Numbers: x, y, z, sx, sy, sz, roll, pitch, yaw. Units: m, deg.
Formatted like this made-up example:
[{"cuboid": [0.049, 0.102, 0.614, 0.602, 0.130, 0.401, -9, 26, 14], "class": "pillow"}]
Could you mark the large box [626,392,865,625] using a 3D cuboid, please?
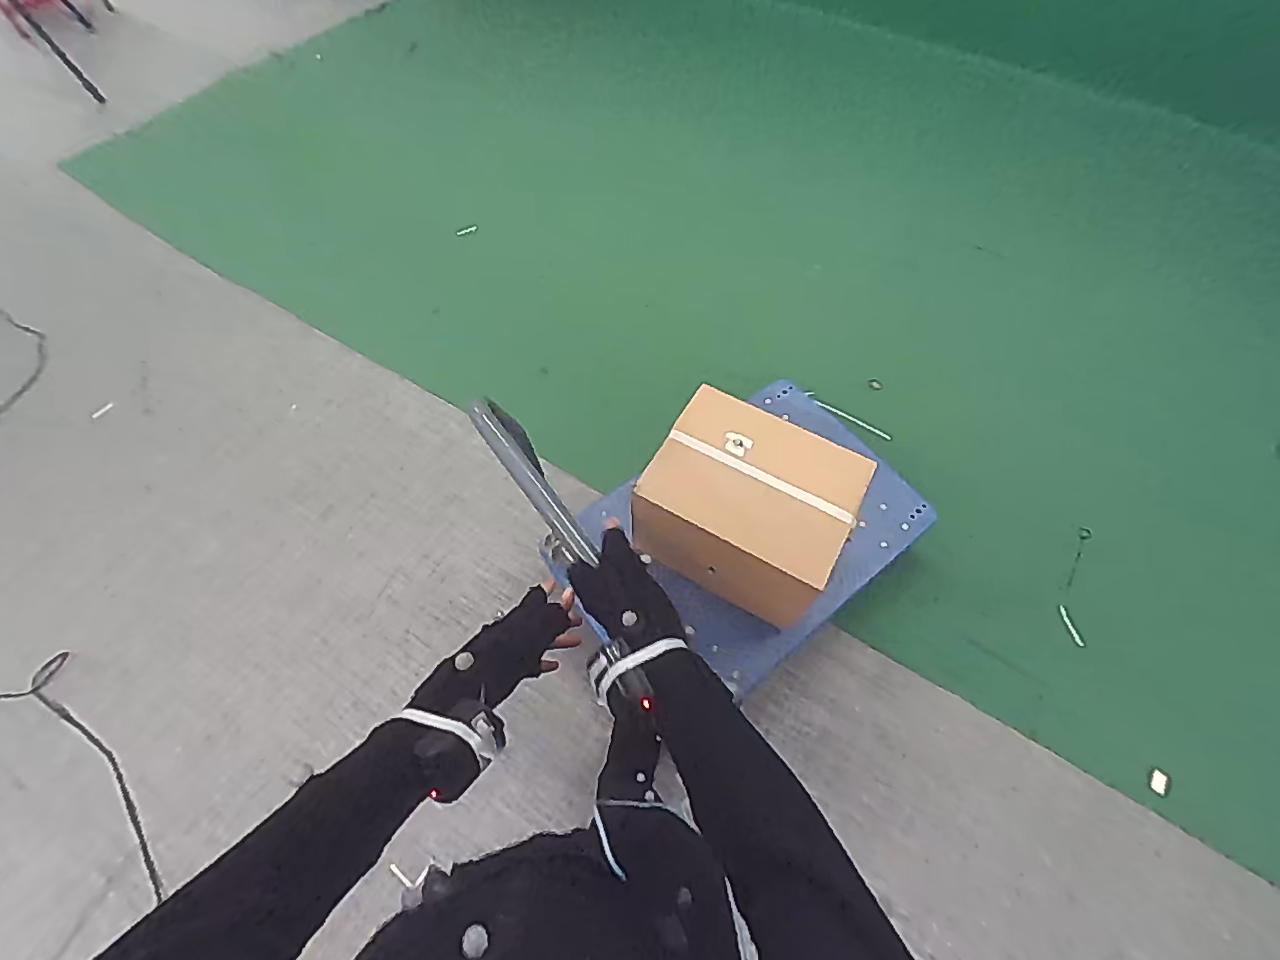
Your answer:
[{"cuboid": [0.222, 0.072, 1.227, 0.408, 0.320, 0.320, 27, 64, 15], "class": "large box"}]
